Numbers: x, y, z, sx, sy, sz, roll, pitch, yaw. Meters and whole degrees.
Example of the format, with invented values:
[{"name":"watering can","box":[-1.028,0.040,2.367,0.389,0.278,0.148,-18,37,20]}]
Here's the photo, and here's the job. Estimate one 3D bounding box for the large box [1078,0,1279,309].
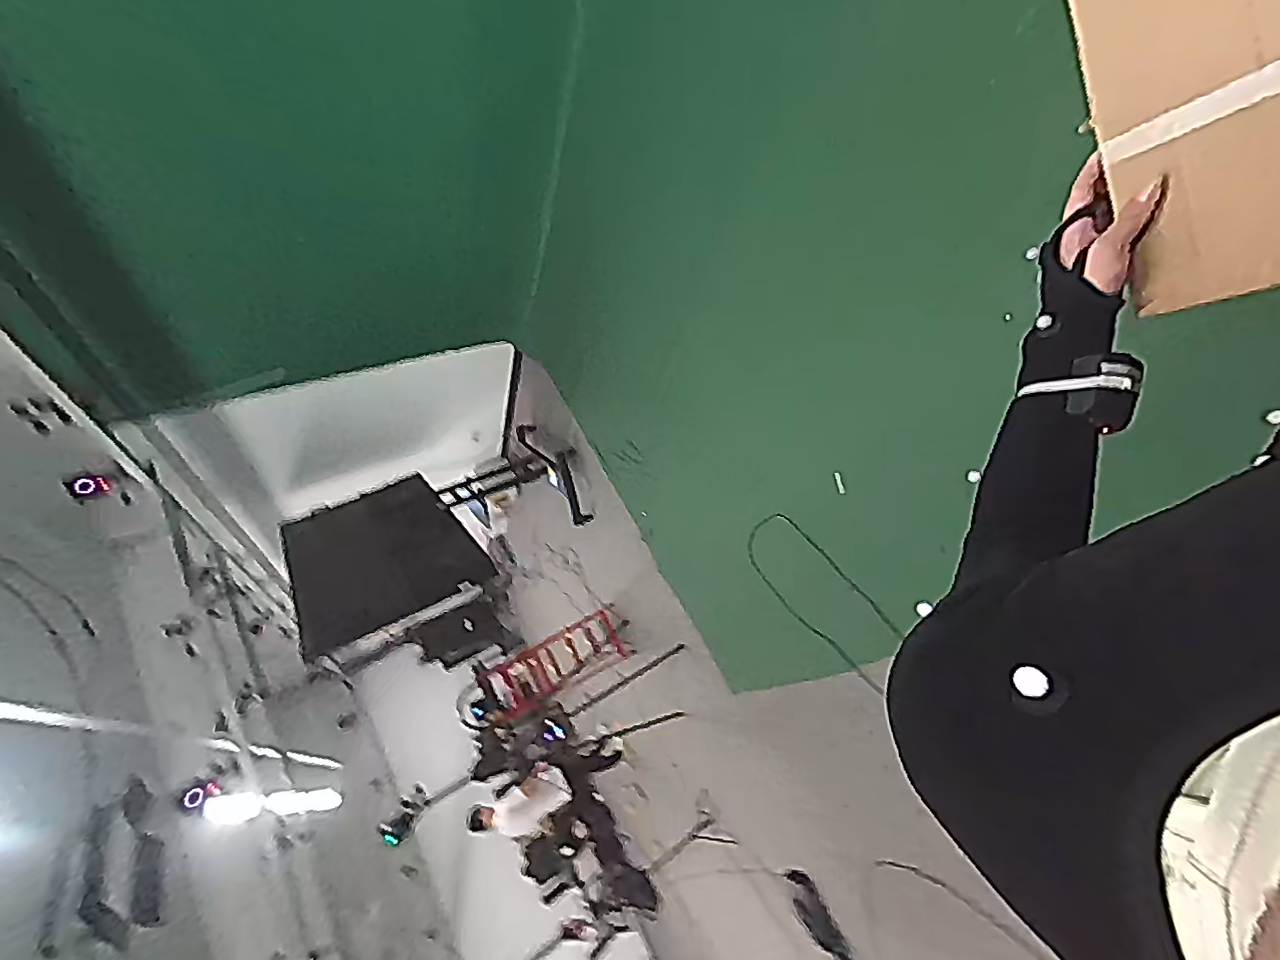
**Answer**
[{"name":"large box","box":[0.666,-0.370,0.436,0.408,0.320,0.320,-9,102,53]}]
